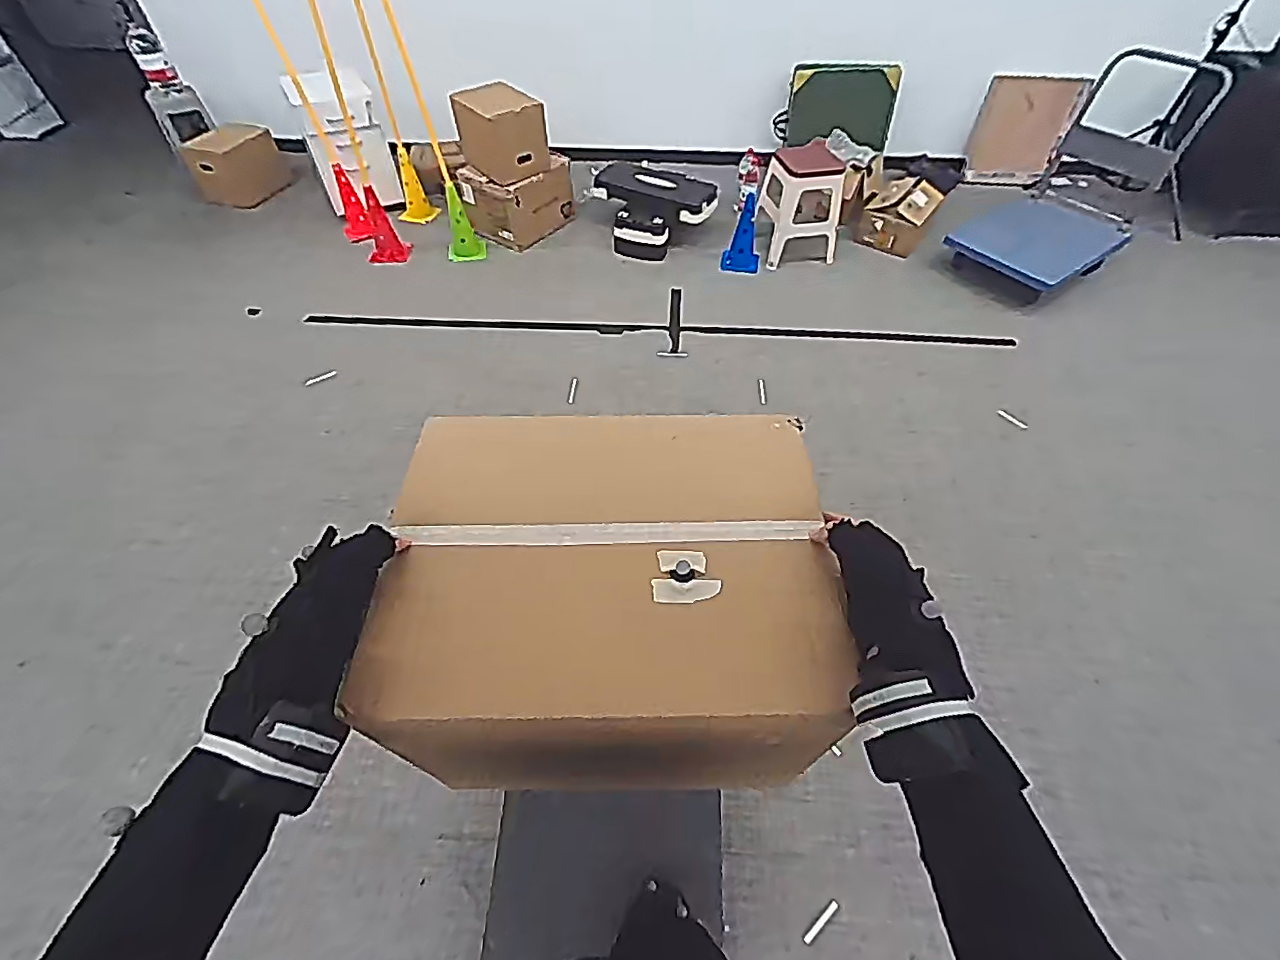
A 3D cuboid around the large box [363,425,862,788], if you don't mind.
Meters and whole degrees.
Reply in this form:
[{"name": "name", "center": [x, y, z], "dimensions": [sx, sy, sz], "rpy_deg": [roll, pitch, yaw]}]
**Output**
[{"name": "large box", "center": [-0.024, 0.152, 0.631], "dimensions": [0.408, 0.320, 0.320], "rpy_deg": [0, 52, 0]}]
